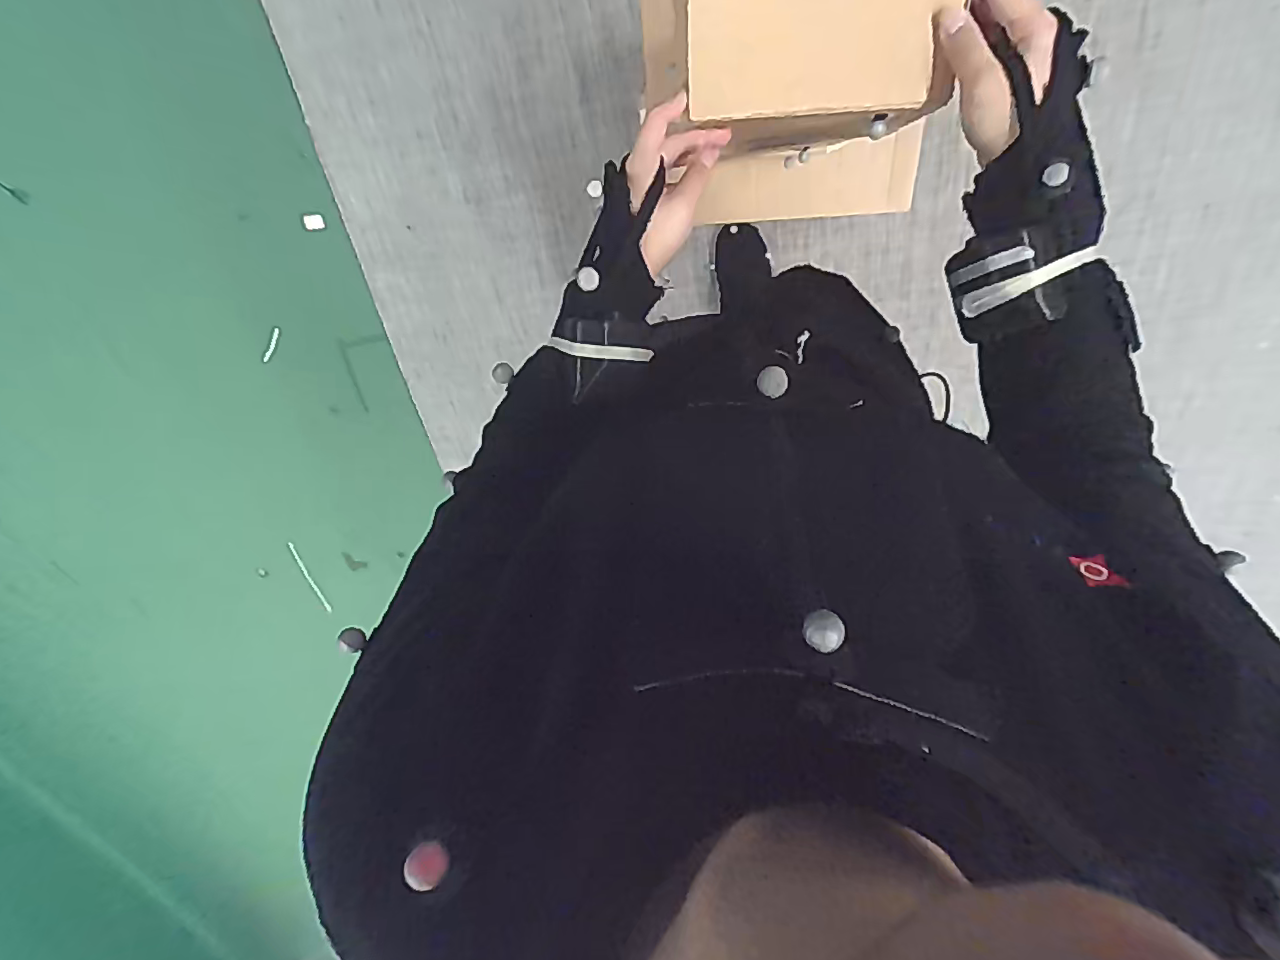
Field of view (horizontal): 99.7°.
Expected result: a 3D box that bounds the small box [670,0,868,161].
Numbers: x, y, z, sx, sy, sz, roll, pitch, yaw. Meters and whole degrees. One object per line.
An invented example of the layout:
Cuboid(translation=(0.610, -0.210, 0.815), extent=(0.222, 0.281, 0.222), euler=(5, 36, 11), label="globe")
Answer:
Cuboid(translation=(0.128, -0.441, 0.567), extent=(0.179, 0.176, 0.168), euler=(-3, 118, 11), label="small box")

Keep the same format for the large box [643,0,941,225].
Cuboid(translation=(0.229, -0.630, 0.917), extent=(0.408, 0.320, 0.320), euler=(-1, 120, 8), label="large box")
